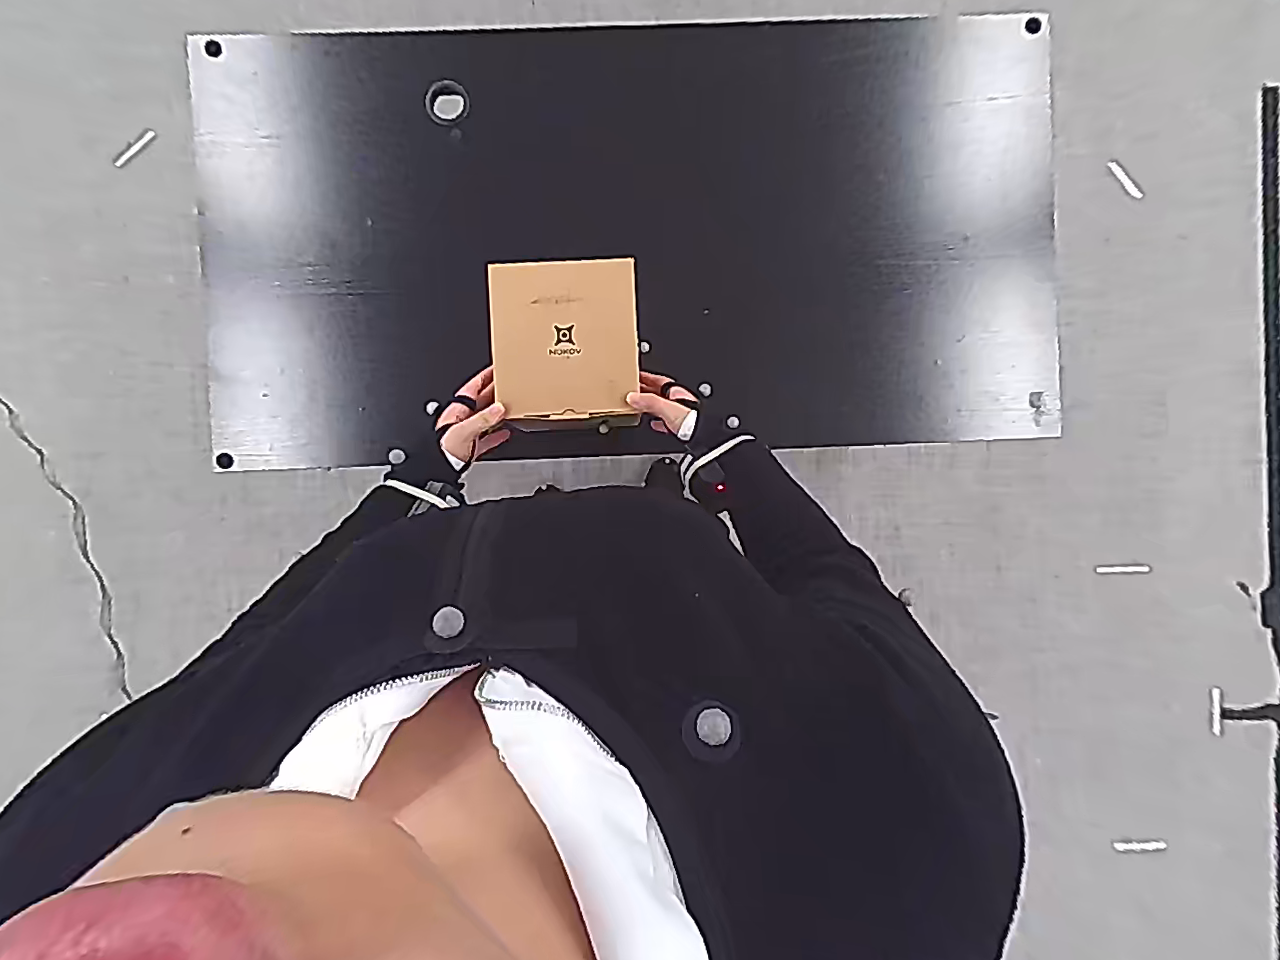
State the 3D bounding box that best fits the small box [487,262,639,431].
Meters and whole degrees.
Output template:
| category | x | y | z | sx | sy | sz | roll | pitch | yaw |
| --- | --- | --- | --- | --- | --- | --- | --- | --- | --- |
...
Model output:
| category | x | y | z | sx | sy | sz | roll | pitch | yaw |
| --- | --- | --- | --- | --- | --- | --- | --- | --- | --- |
| small box | -0.087 | -0.155 | 0.681 | 0.168 | 0.176 | 0.179 | -3 | 90 | -2 |
